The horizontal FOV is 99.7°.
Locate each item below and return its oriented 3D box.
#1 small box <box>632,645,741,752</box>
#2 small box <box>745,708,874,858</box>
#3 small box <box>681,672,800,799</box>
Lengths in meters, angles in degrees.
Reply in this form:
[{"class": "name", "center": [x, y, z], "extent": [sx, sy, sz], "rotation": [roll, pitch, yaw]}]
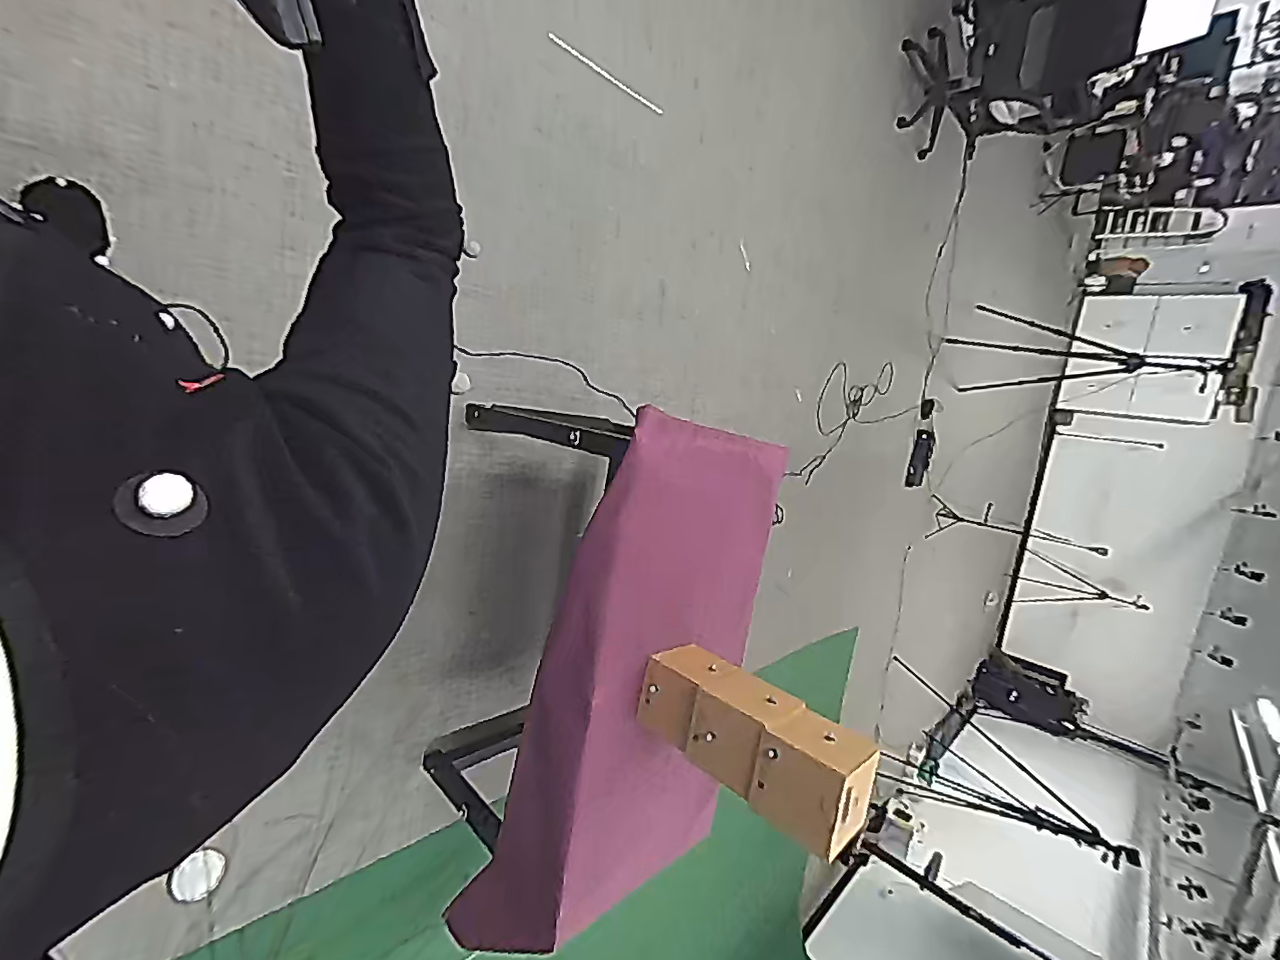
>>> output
[{"class": "small box", "center": [0.109, 0.508, 1.287], "extent": [0.179, 0.176, 0.168], "rotation": [7, 96, -47]}, {"class": "small box", "center": [0.326, 0.571, 1.048], "extent": [0.179, 0.176, 0.168], "rotation": [6, 97, -48]}, {"class": "small box", "center": [0.216, 0.535, 1.165], "extent": [0.179, 0.176, 0.168], "rotation": [5, 97, -47]}]
